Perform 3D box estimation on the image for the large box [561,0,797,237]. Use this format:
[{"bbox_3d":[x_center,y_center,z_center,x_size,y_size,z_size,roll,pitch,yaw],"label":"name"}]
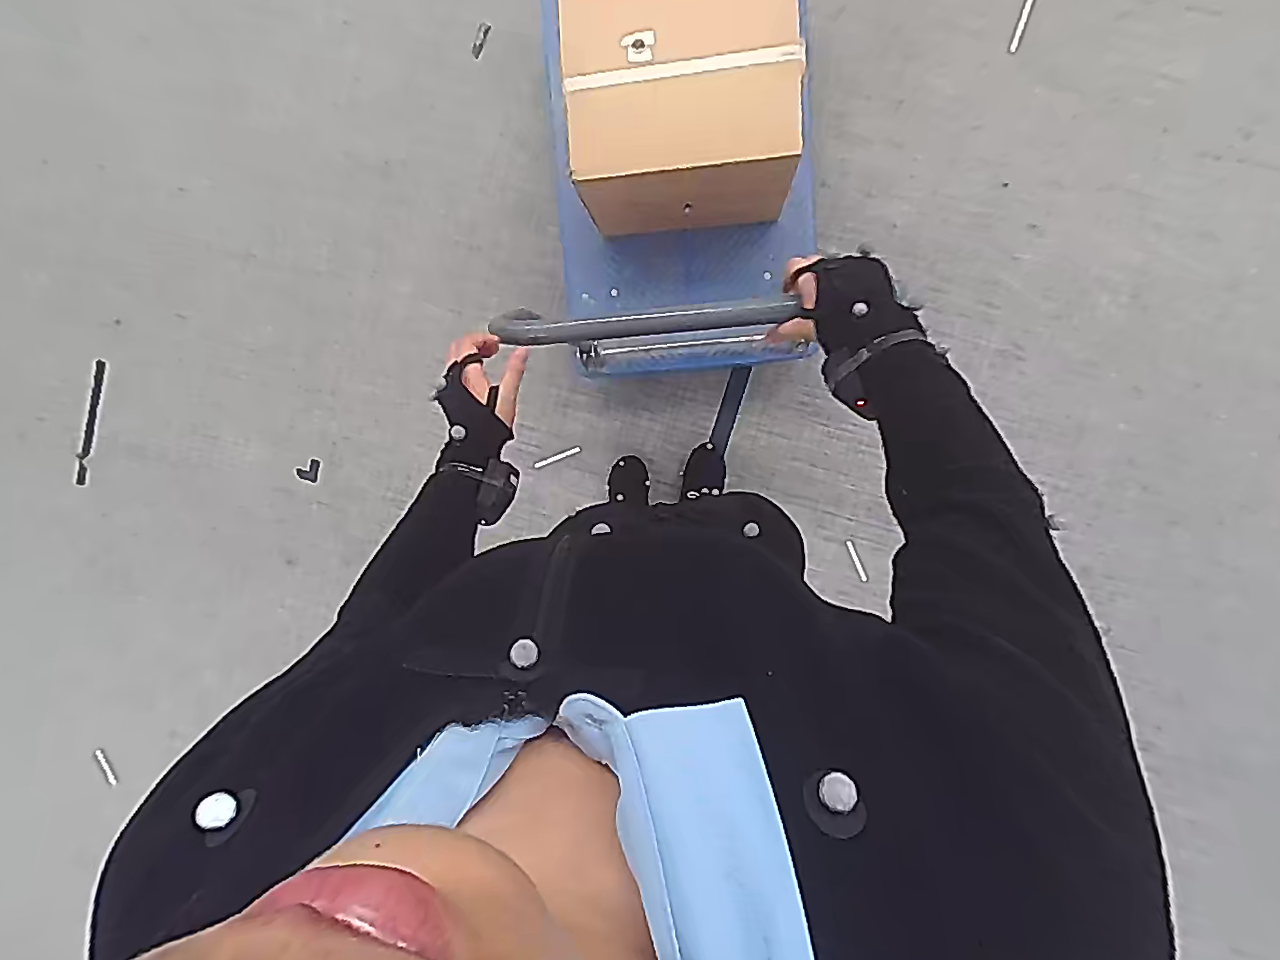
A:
[{"bbox_3d":[0.086,-0.715,1.092,0.408,0.320,0.320,-3,95,8],"label":"large box"}]
